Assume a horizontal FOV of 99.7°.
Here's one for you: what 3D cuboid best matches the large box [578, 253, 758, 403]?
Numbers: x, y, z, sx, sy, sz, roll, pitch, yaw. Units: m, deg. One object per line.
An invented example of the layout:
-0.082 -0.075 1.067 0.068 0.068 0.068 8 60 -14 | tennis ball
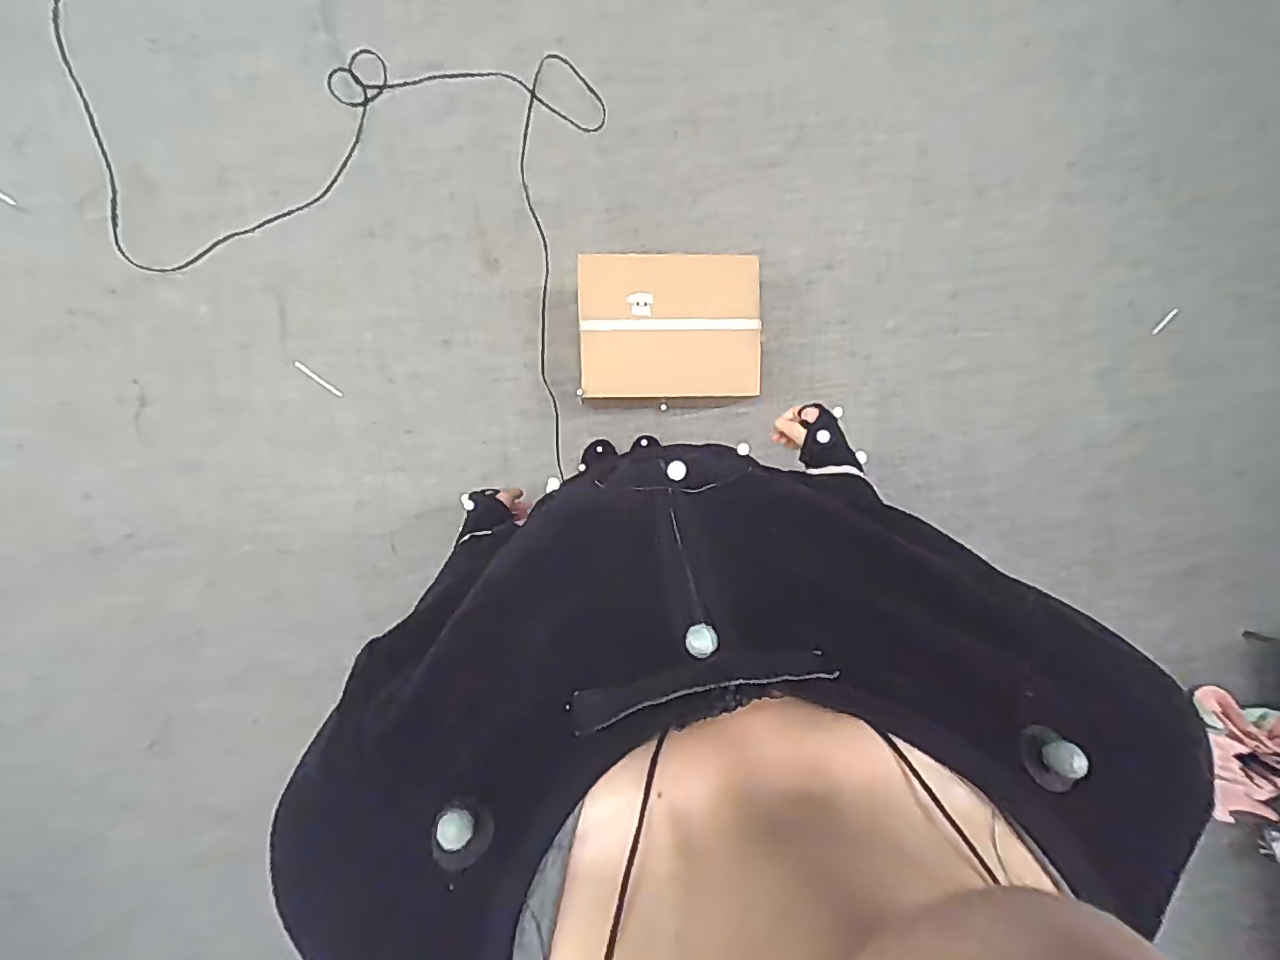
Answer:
0.058 -0.357 1.349 0.408 0.320 0.320 -1 93 -3 | large box
